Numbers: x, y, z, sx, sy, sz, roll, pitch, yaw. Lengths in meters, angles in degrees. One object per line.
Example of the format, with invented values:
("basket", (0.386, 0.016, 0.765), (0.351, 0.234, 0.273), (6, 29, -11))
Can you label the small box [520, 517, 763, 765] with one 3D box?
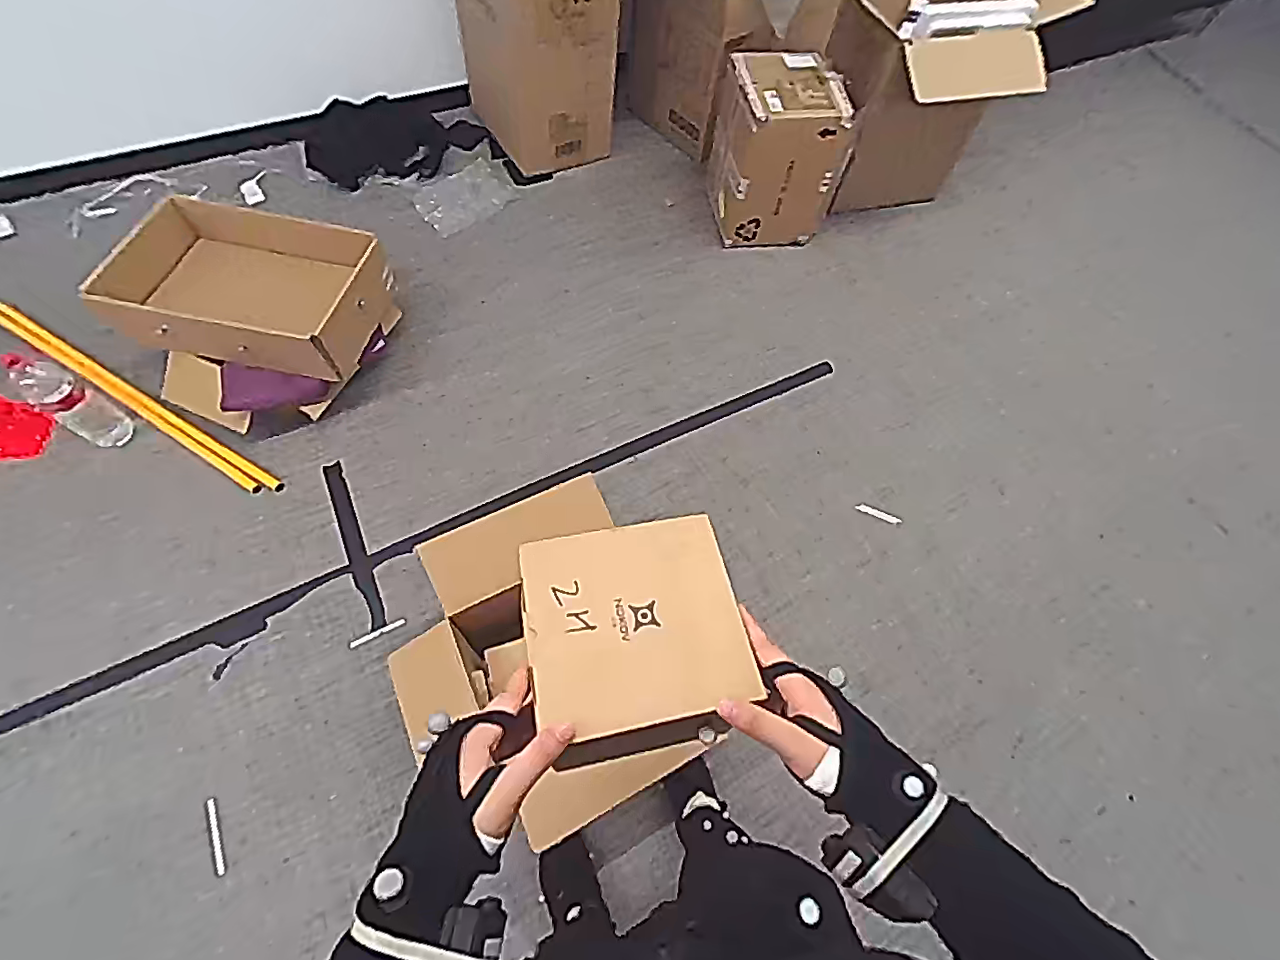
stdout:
("small box", (-0.009, 0.156, 0.510), (0.179, 0.176, 0.168), (-9, 58, -9))
